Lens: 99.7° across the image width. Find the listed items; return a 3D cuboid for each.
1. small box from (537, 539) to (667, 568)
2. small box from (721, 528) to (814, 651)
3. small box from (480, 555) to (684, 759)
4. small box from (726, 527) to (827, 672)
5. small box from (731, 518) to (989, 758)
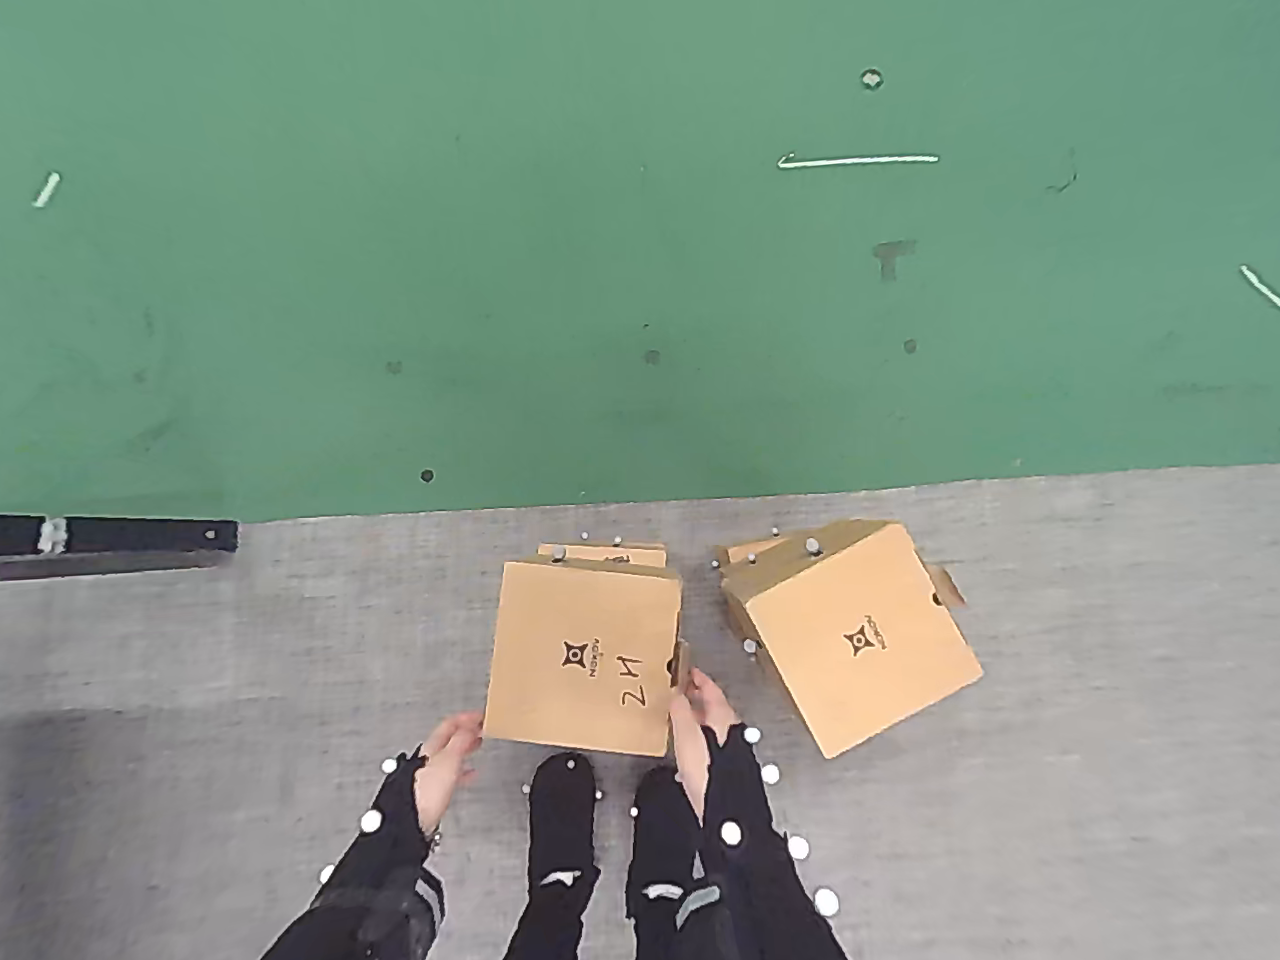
[{"bbox_3d":[-0.049,0.176,0.744,0.168,0.176,0.179,3,85,2],"label":"small box"},{"bbox_3d":[0.239,0.175,0.906,0.179,0.176,0.168,-10,85,-1],"label":"small box"},{"bbox_3d":[-0.051,0.172,0.579,0.179,0.176,0.168,6,85,2],"label":"small box"},{"bbox_3d":[0.230,0.171,0.744,0.179,0.176,0.168,-23,86,-2],"label":"small box"},{"bbox_3d":[0.212,0.153,0.582,0.179,0.176,0.168,-28,86,-3],"label":"small box"}]
